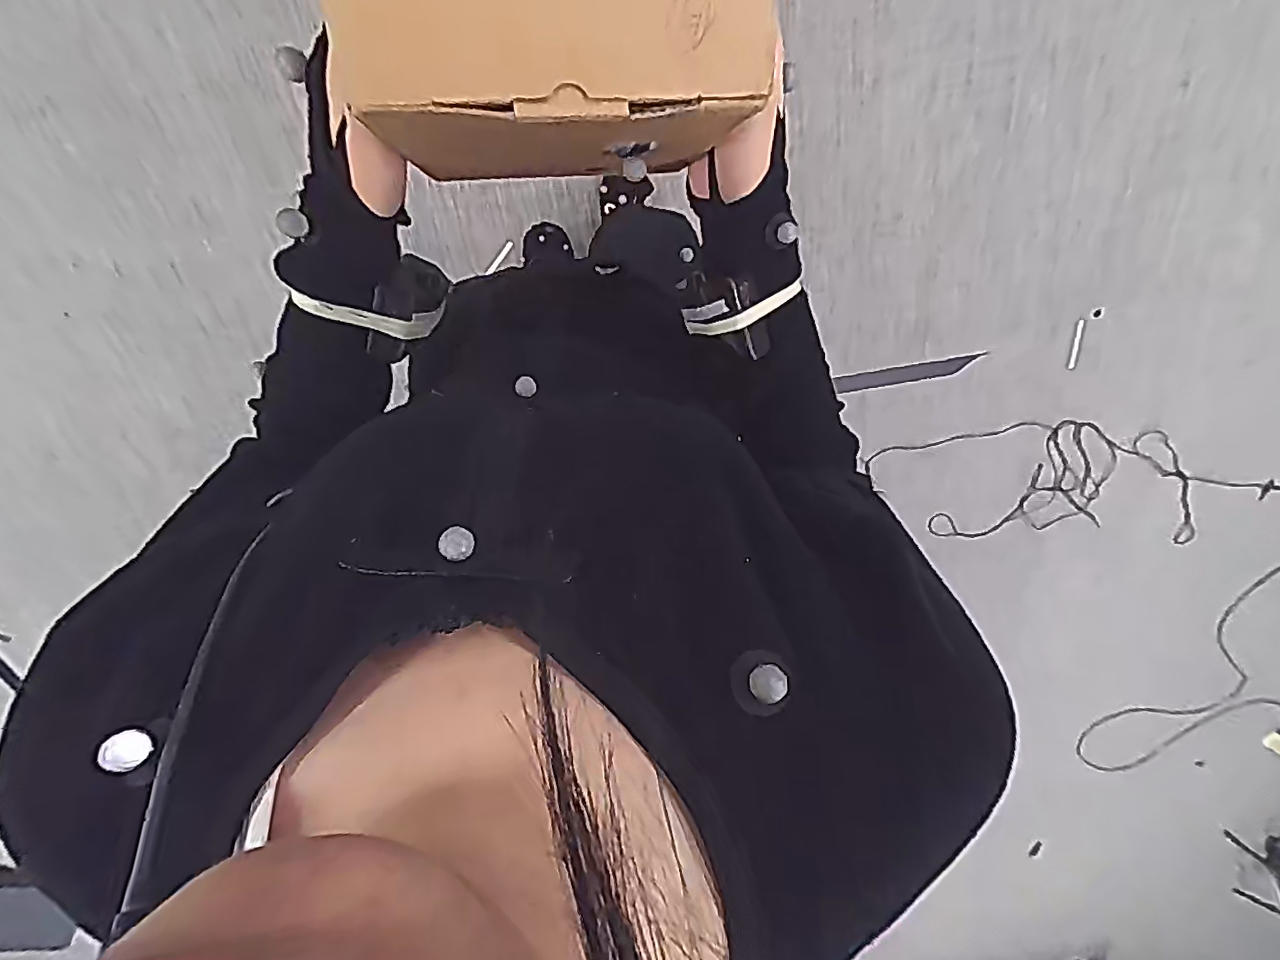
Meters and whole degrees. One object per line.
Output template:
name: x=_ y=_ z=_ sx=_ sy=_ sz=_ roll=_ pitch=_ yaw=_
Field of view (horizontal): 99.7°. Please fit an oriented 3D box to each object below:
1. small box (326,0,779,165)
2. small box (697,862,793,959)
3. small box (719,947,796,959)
small box: x=-0.044 y=-0.254 z=0.247 sx=0.168 sy=0.176 sz=0.179 roll=-7 pitch=111 yaw=-9
small box: x=0.225 y=0.968 z=1.181 sx=0.168 sy=0.176 sz=0.179 roll=-9 pitch=117 yaw=-3
small box: x=0.244 y=1.045 z=1.038 sx=0.168 sy=0.176 sz=0.179 roll=-10 pitch=118 yaw=-2
